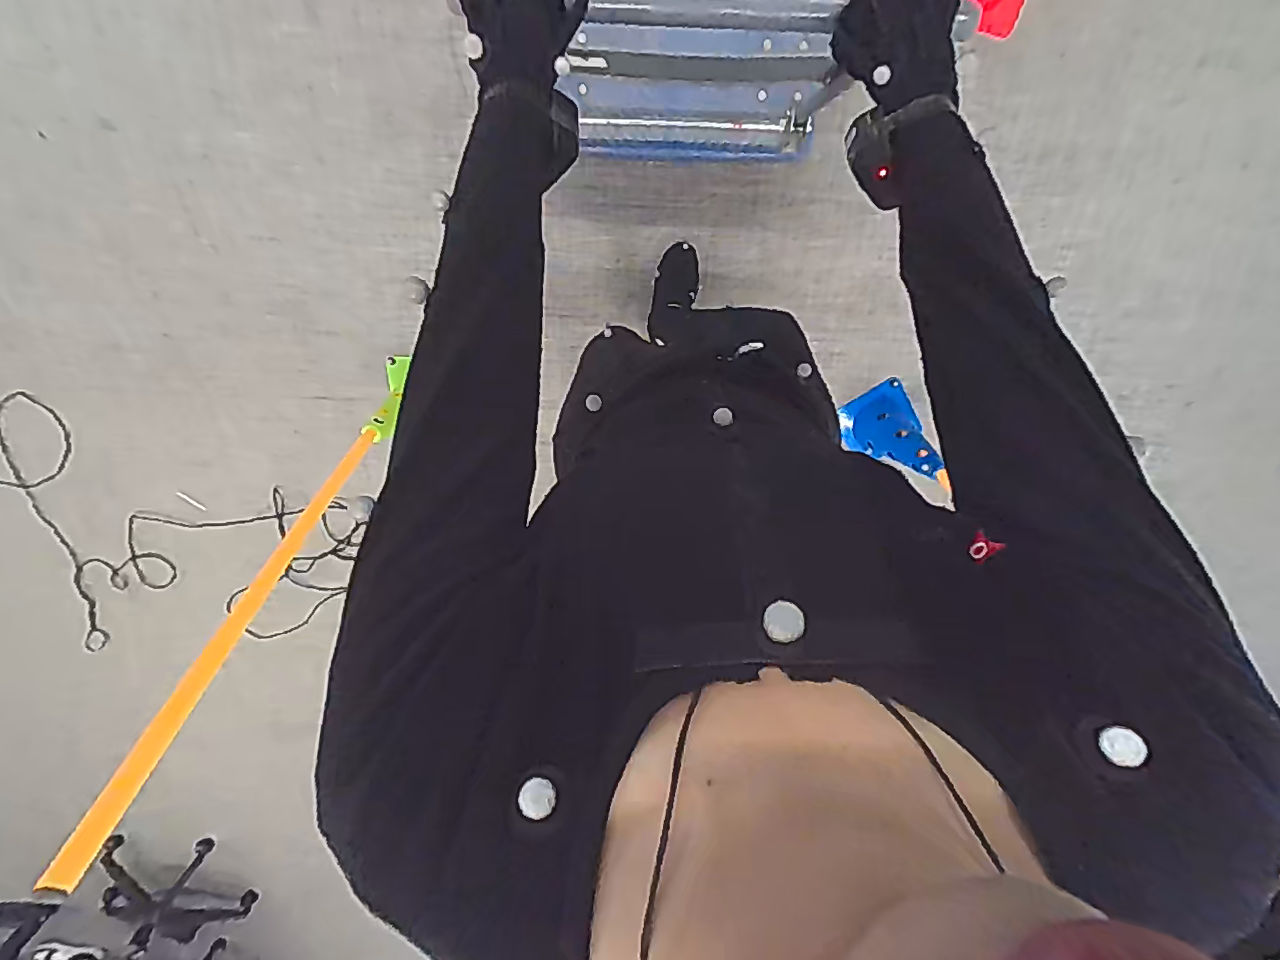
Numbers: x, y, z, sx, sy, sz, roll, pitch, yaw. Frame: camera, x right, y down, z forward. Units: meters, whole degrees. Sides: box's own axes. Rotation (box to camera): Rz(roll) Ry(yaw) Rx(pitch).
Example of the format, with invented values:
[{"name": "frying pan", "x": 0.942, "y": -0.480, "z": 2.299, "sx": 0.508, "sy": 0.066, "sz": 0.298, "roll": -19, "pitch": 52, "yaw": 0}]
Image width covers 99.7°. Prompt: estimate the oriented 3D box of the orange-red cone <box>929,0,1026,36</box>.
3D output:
[{"name": "orange-red cone", "x": 0.715, "y": -0.981, "z": 0.952, "sx": 0.198, "sy": 0.360, "sz": 0.199, "roll": 13, "pitch": 114, "yaw": -4}]
